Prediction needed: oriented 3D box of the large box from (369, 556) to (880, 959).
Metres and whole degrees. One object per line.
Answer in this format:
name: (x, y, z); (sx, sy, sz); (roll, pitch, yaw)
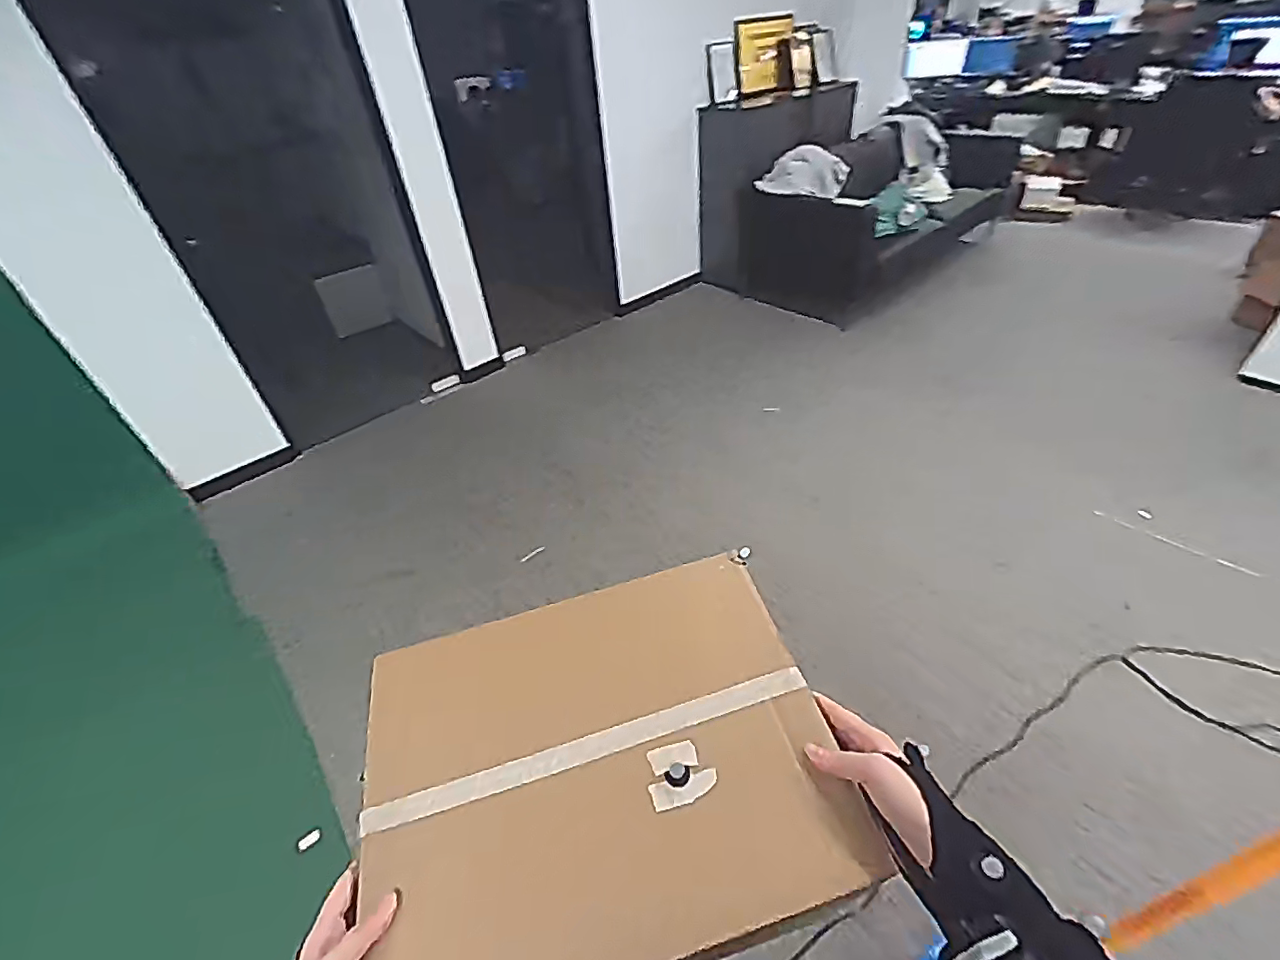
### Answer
large box: (-0.030, 0.344, 0.600); (0.408, 0.320, 0.320); (-15, 47, -8)

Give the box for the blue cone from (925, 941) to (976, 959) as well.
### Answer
blue cone: (0.621, 0.919, 0.948); (0.192, 0.380, 0.193); (-26, 43, -22)
